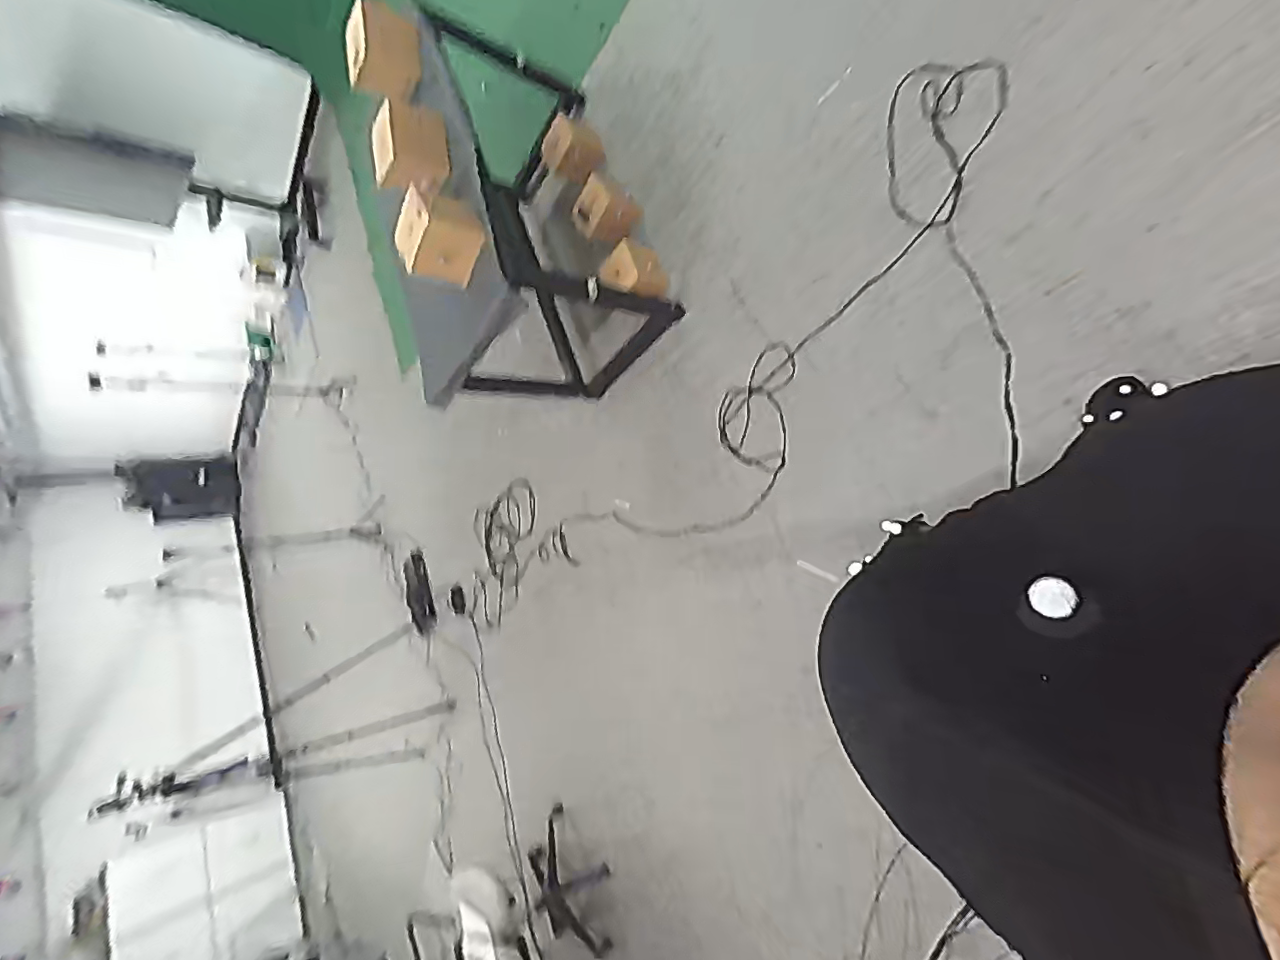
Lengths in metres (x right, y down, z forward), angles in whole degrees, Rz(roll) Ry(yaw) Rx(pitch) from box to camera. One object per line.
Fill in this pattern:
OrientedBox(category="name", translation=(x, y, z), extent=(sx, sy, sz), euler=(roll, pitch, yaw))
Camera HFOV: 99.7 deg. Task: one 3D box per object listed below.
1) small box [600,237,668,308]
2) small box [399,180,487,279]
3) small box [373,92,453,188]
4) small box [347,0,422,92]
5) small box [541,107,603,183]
OrientedBox(category="small box", translation=(-0.017, -0.768, 2.020), extent=(0.179, 0.176, 0.168), euler=(-31, 72, 43))
OrientedBox(category="small box", translation=(-0.557, -0.699, 1.530), extent=(0.179, 0.176, 0.168), euler=(-50, 60, 35))
OrientedBox(category="small box", translation=(-0.683, -1.008, 1.631), extent=(0.168, 0.176, 0.179), euler=(-9, 89, 49))
OrientedBox(category="small box", translation=(-0.807, -1.375, 1.715), extent=(0.168, 0.176, 0.179), euler=(-7, 90, 48))
OrientedBox(category="small box", translation=(-0.271, -1.368, 2.216), extent=(0.179, 0.176, 0.168), euler=(-42, 64, 39))
